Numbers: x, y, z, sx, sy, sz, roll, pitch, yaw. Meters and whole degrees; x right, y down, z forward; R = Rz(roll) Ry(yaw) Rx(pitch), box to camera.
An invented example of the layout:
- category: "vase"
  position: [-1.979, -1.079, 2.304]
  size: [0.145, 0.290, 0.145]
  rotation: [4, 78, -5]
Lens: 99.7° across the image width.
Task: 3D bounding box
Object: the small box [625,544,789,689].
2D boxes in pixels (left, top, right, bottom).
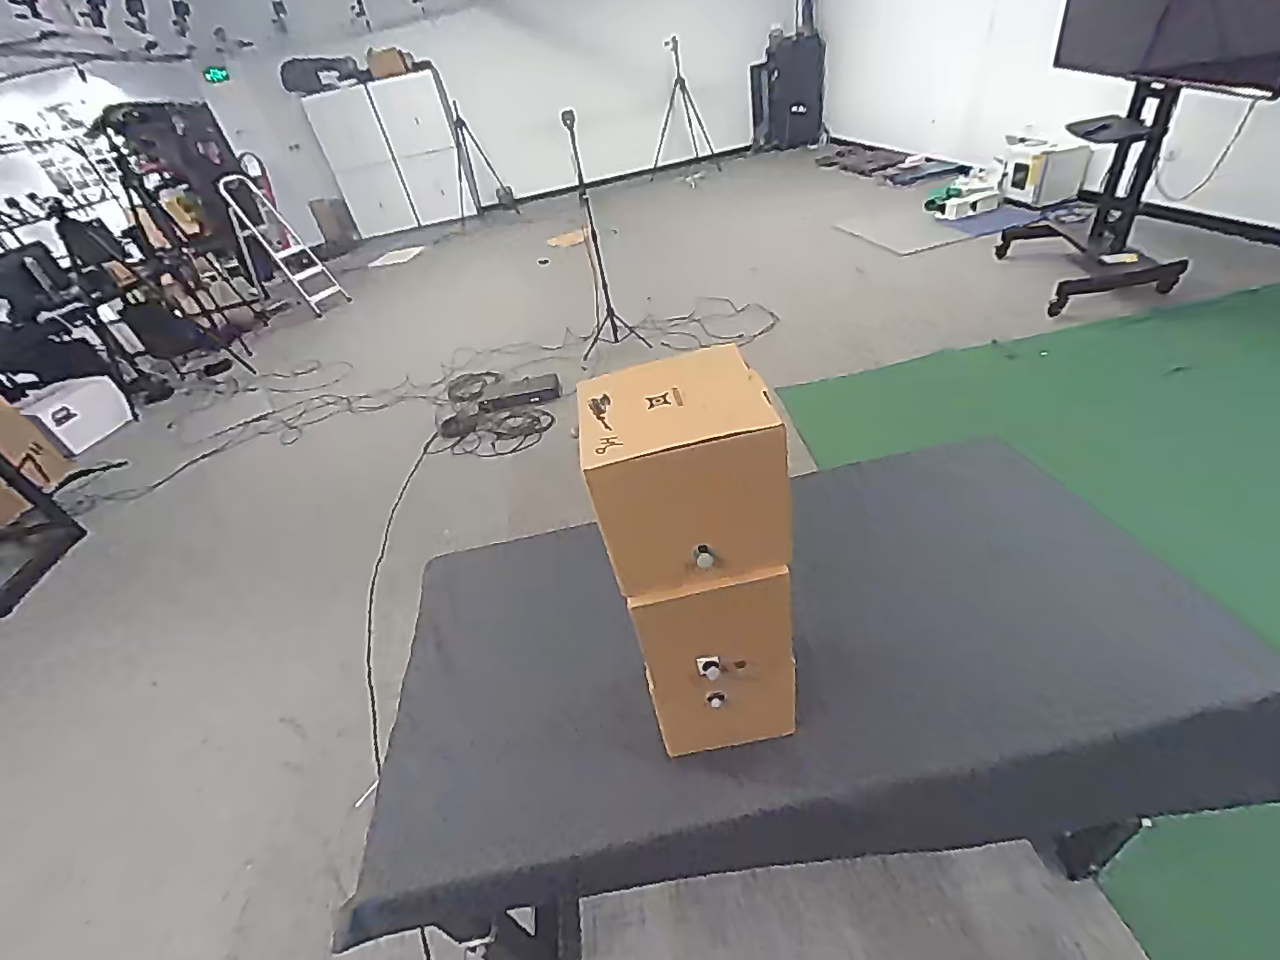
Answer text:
- category: "small box"
  position: [0.073, 0.119, 0.652]
  size: [0.168, 0.176, 0.179]
  rotation: [-14, 38, 2]

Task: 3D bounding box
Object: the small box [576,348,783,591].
- category: "small box"
  position: [0.040, -0.011, 0.558]
  size: [0.179, 0.176, 0.168]
  rotation: [-12, 37, 3]

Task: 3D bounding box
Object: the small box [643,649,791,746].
- category: "small box"
  position: [0.102, 0.244, 0.751]
  size: [0.179, 0.176, 0.168]
  rotation: [-11, 37, 2]
